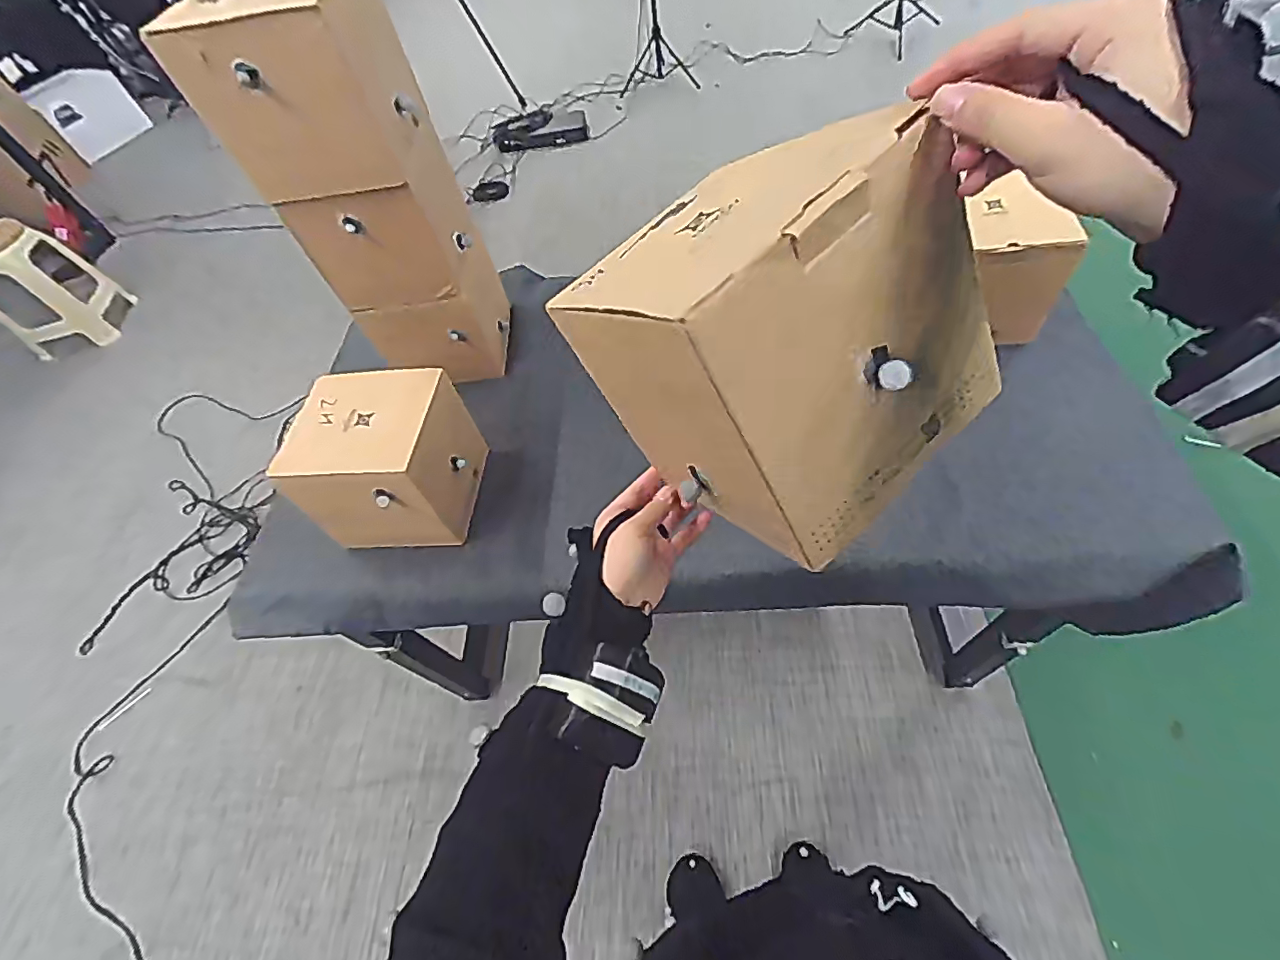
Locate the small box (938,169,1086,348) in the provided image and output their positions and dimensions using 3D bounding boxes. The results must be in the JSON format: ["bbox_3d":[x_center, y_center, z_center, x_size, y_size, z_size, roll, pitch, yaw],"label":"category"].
[{"bbox_3d":[0.474,-0.309,0.773,0.168,0.176,0.179,-2,58,8],"label":"small box"}]

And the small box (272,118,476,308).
[{"bbox_3d":[-0.346,-0.357,0.742,0.179,0.176,0.168,-6,58,3],"label":"small box"}]

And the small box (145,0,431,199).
[{"bbox_3d":[-0.363,-0.437,0.599,0.179,0.176,0.168,-5,58,5],"label":"small box"}]

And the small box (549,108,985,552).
[{"bbox_3d":[0.077,-0.081,0.339,0.168,0.176,0.179,-40,31,-10],"label":"small box"}]

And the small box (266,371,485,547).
[{"bbox_3d":[-0.324,-0.022,0.709,0.179,0.176,0.168,-2,54,8],"label":"small box"}]
